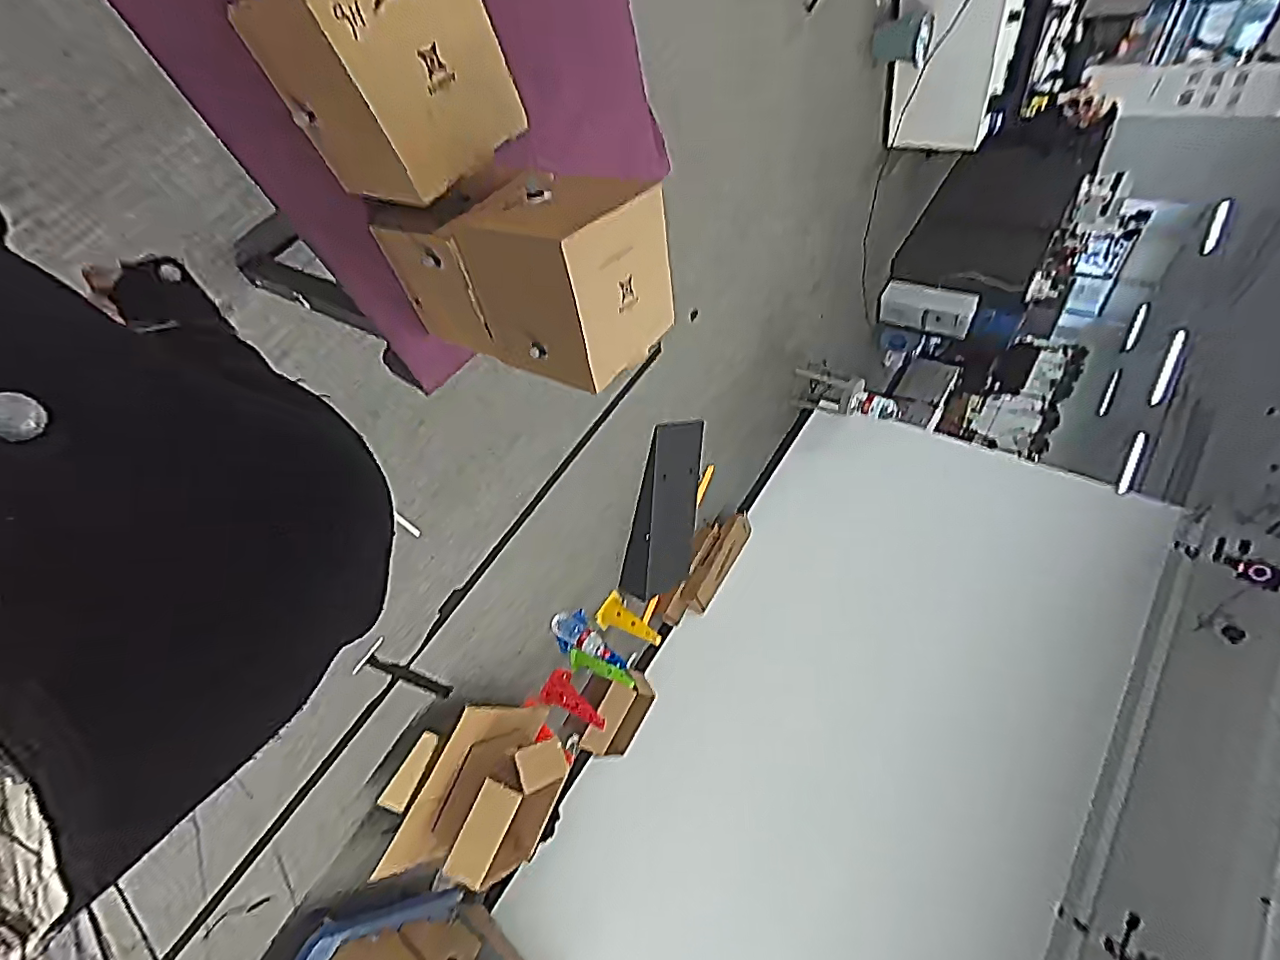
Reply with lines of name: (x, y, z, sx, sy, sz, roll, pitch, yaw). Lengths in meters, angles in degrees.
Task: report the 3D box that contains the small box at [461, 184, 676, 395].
small box: (-0.077, -0.233, 0.646, 0.168, 0.176, 0.179, -47, 144, -31)
